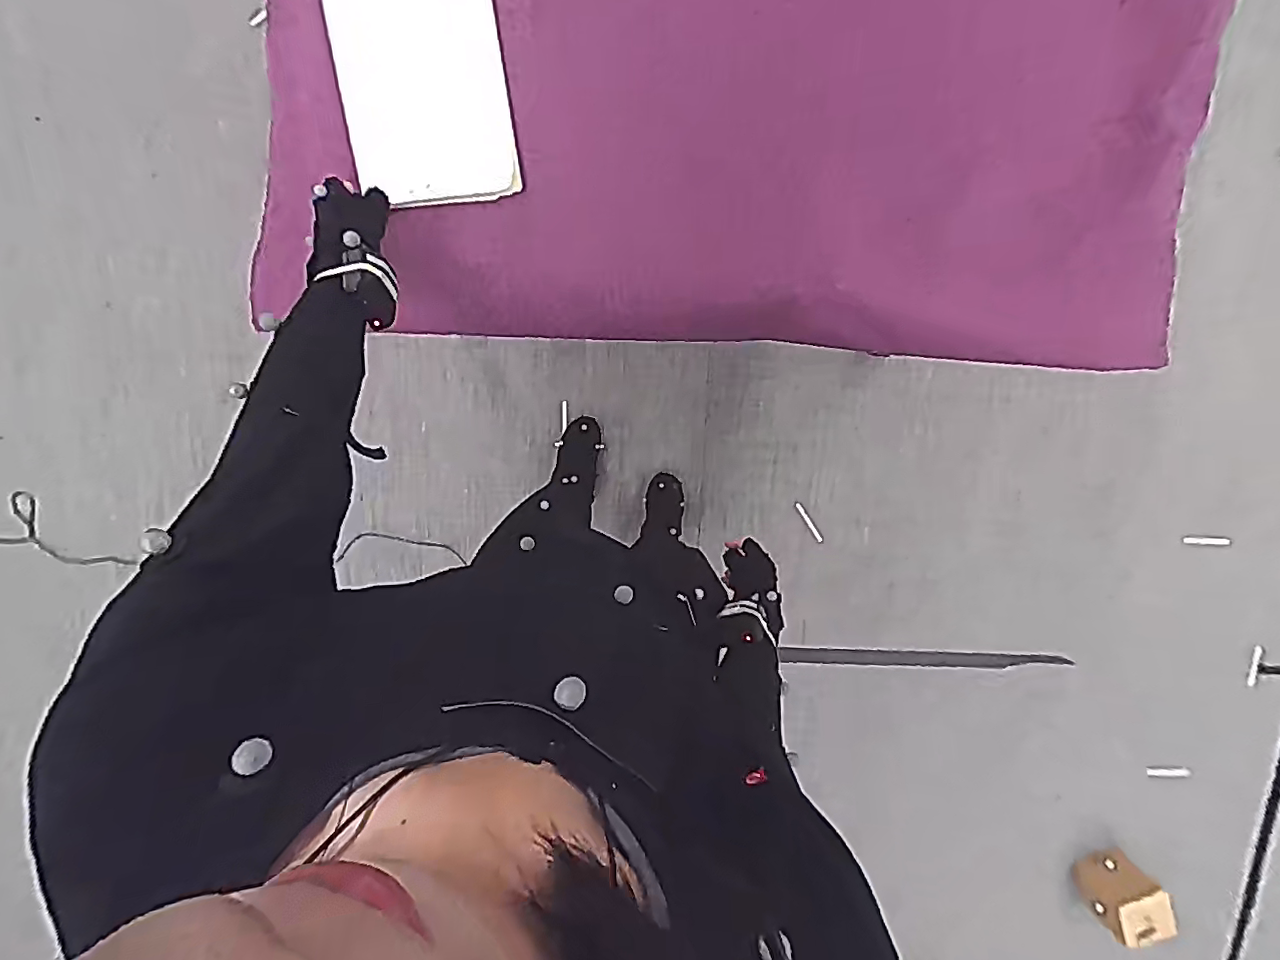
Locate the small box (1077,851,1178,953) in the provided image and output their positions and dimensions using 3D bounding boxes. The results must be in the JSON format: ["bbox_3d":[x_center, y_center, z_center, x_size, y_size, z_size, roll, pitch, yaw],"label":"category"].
[{"bbox_3d":[1.583,1.369,1.763,0.168,0.176,0.179,-20,99,-1],"label":"small box"}]
